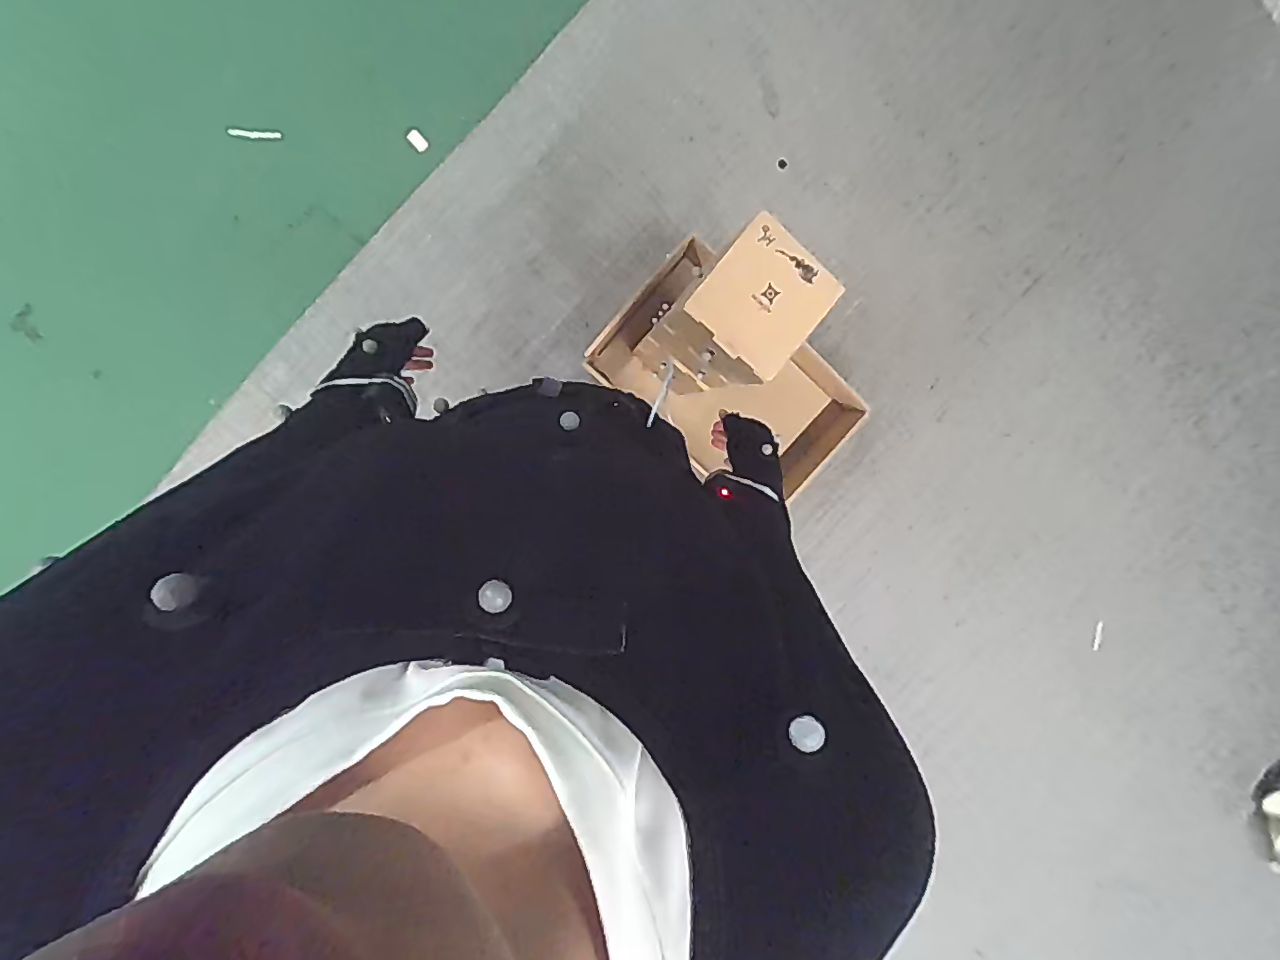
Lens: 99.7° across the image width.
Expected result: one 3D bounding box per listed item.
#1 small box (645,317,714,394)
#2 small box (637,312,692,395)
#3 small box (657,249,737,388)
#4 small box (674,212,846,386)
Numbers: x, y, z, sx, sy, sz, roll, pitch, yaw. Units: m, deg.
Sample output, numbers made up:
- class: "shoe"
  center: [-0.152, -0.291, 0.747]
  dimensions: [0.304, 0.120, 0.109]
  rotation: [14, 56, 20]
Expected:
- class: "small box"
  center: [0.126, -0.302, 1.150]
  dimensions: [0.168, 0.176, 0.179]
  rotation: [42, 92, -10]
- class: "small box"
  center: [0.108, -0.325, 1.310]
  dimensions: [0.168, 0.176, 0.179]
  rotation: [43, 92, -10]
- class: "small box"
  center: [0.146, -0.284, 0.988]
  dimensions: [0.168, 0.176, 0.179]
  rotation: [40, 92, -11]
- class: "small box"
  center: [0.168, -0.261, 0.828]
  dimensions: [0.168, 0.176, 0.179]
  rotation: [40, 93, -12]
